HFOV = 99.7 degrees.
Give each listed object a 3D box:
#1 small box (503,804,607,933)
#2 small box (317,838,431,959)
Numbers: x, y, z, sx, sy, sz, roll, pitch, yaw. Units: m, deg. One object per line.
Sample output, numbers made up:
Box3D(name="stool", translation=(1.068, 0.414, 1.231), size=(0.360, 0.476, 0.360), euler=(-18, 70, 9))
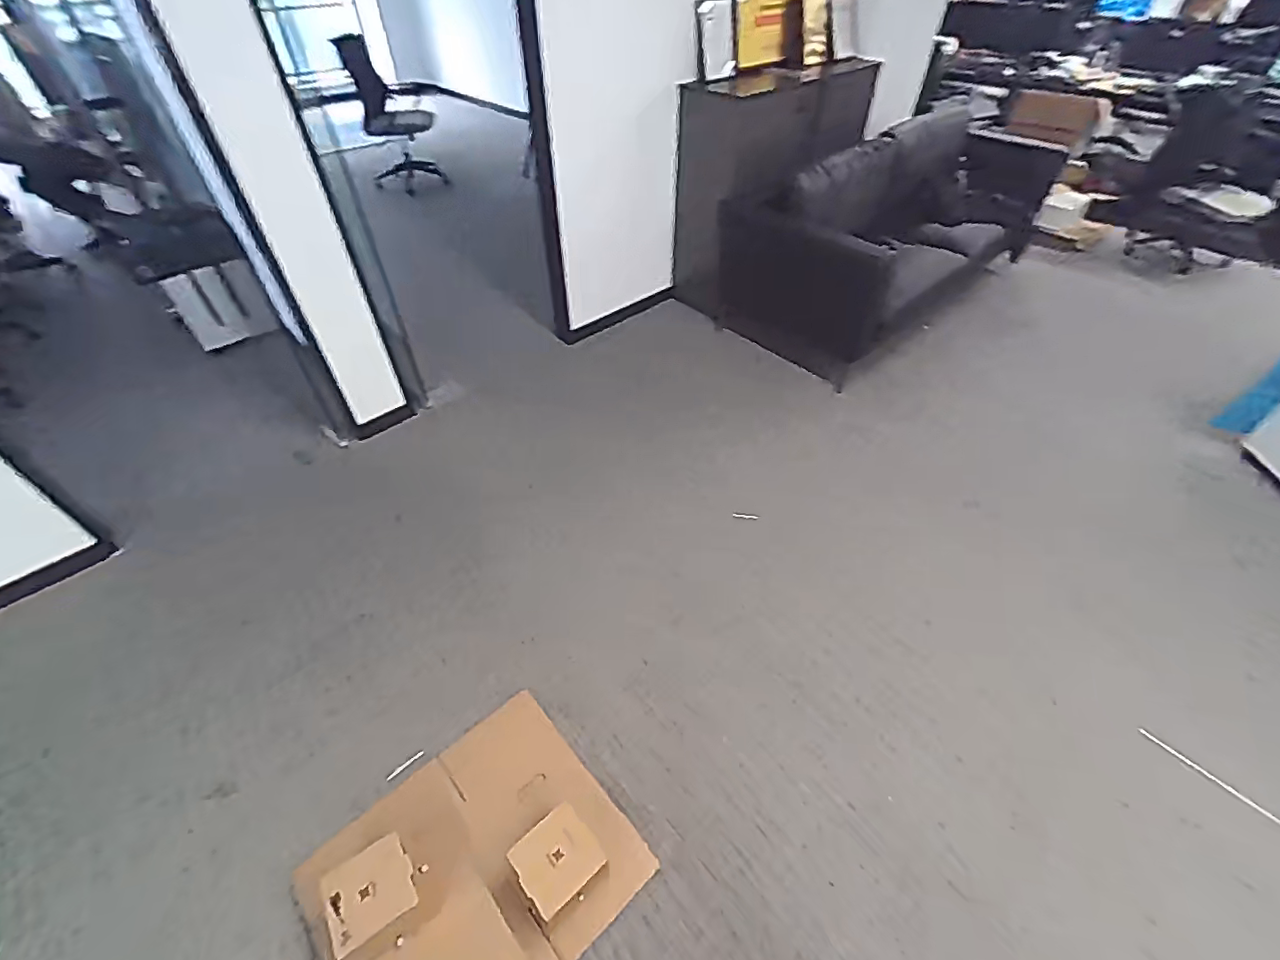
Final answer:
Box3D(name="small box", translation=(-0.192, 0.916, 1.271), size=(0.179, 0.176, 0.168), euler=(-32, 54, -27))
Box3D(name="small box", translation=(-0.592, 0.959, 1.222), size=(0.179, 0.176, 0.168), euler=(-25, 50, -23))
